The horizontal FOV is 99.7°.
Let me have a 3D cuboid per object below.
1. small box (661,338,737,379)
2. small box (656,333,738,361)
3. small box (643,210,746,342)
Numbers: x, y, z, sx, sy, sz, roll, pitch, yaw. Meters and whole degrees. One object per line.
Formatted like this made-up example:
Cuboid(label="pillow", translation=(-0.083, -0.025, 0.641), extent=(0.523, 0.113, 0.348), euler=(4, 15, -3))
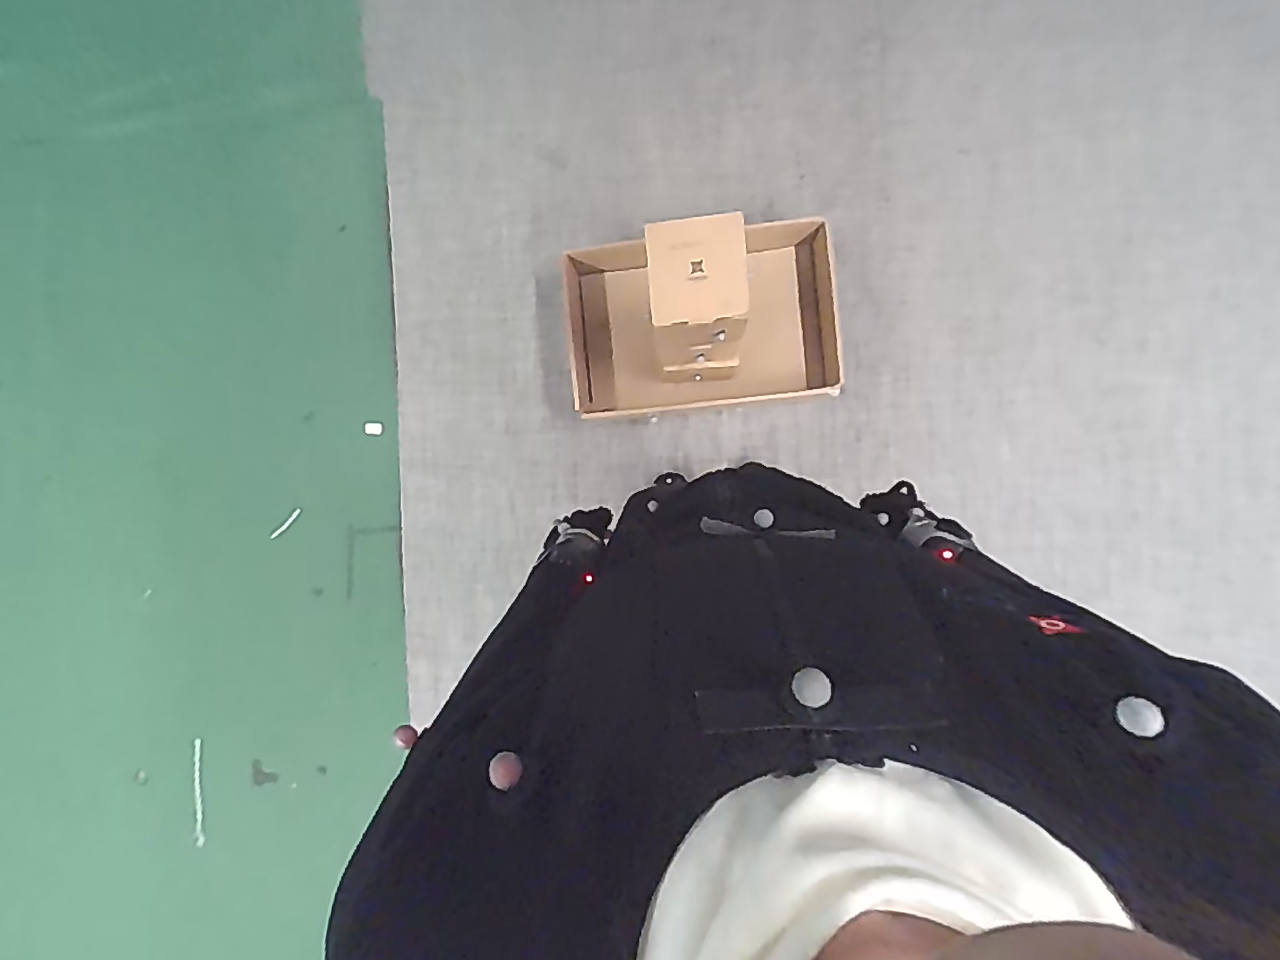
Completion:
Cuboid(label="small box", translation=(0.141, -0.345, 1.320), extent=(0.179, 0.176, 0.168), euler=(-2, 89, 7))
Cuboid(label="small box", translation=(0.117, -0.360, 1.162), extent=(0.168, 0.176, 0.179), euler=(-7, 89, 7))
Cuboid(label="small box", translation=(0.099, -0.356, 0.981), extent=(0.168, 0.176, 0.179), euler=(-5, 89, 5))
